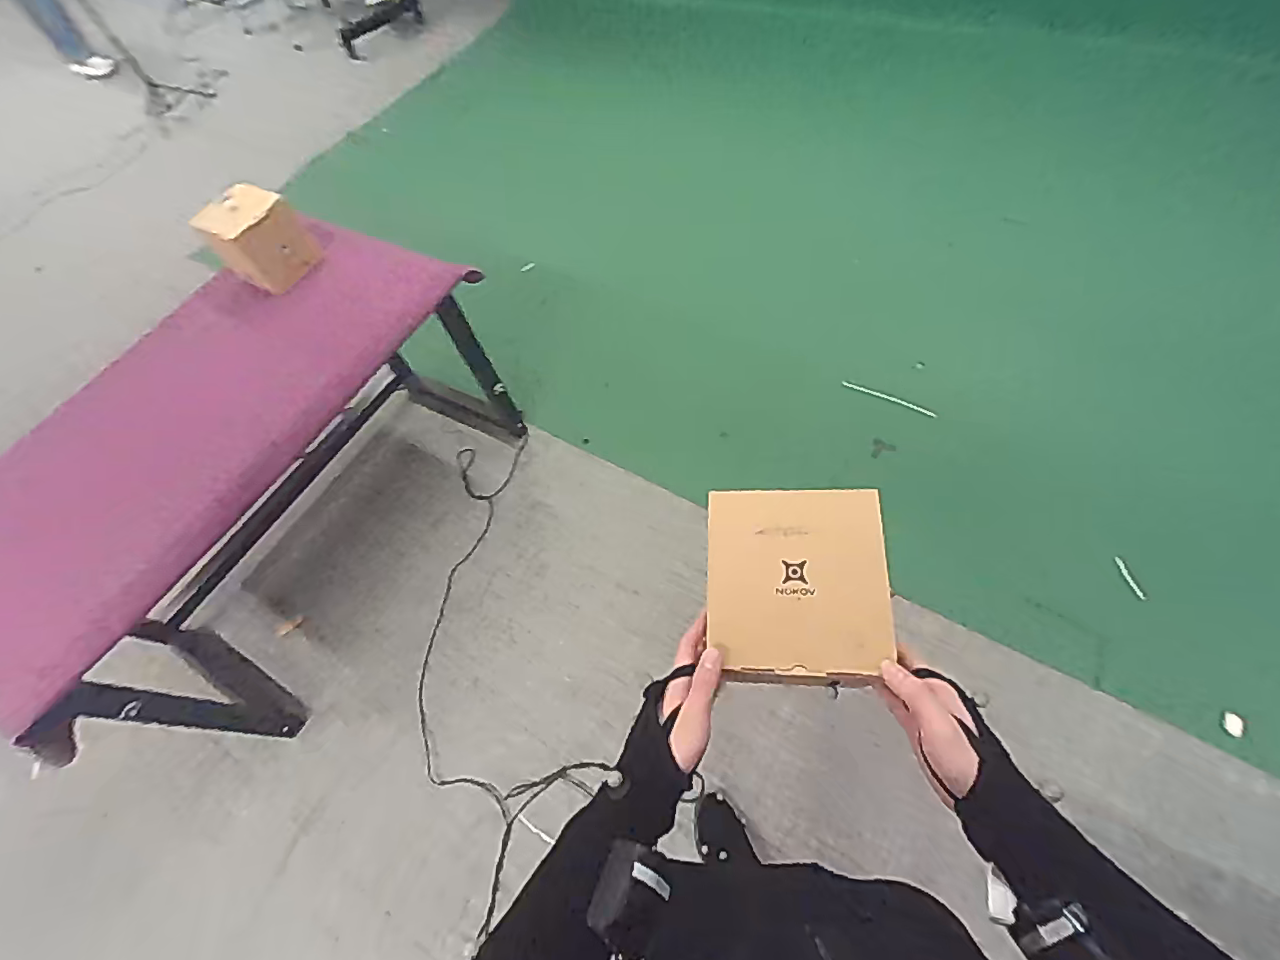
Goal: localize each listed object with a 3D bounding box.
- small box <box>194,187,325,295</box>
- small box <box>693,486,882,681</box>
[{"bbox_3d":[-0.951,-0.600,1.369,0.179,0.176,0.168,25,68,20],"label":"small box"},{"bbox_3d":[0.148,0.118,0.579,0.168,0.176,0.179,-2,67,11],"label":"small box"}]
